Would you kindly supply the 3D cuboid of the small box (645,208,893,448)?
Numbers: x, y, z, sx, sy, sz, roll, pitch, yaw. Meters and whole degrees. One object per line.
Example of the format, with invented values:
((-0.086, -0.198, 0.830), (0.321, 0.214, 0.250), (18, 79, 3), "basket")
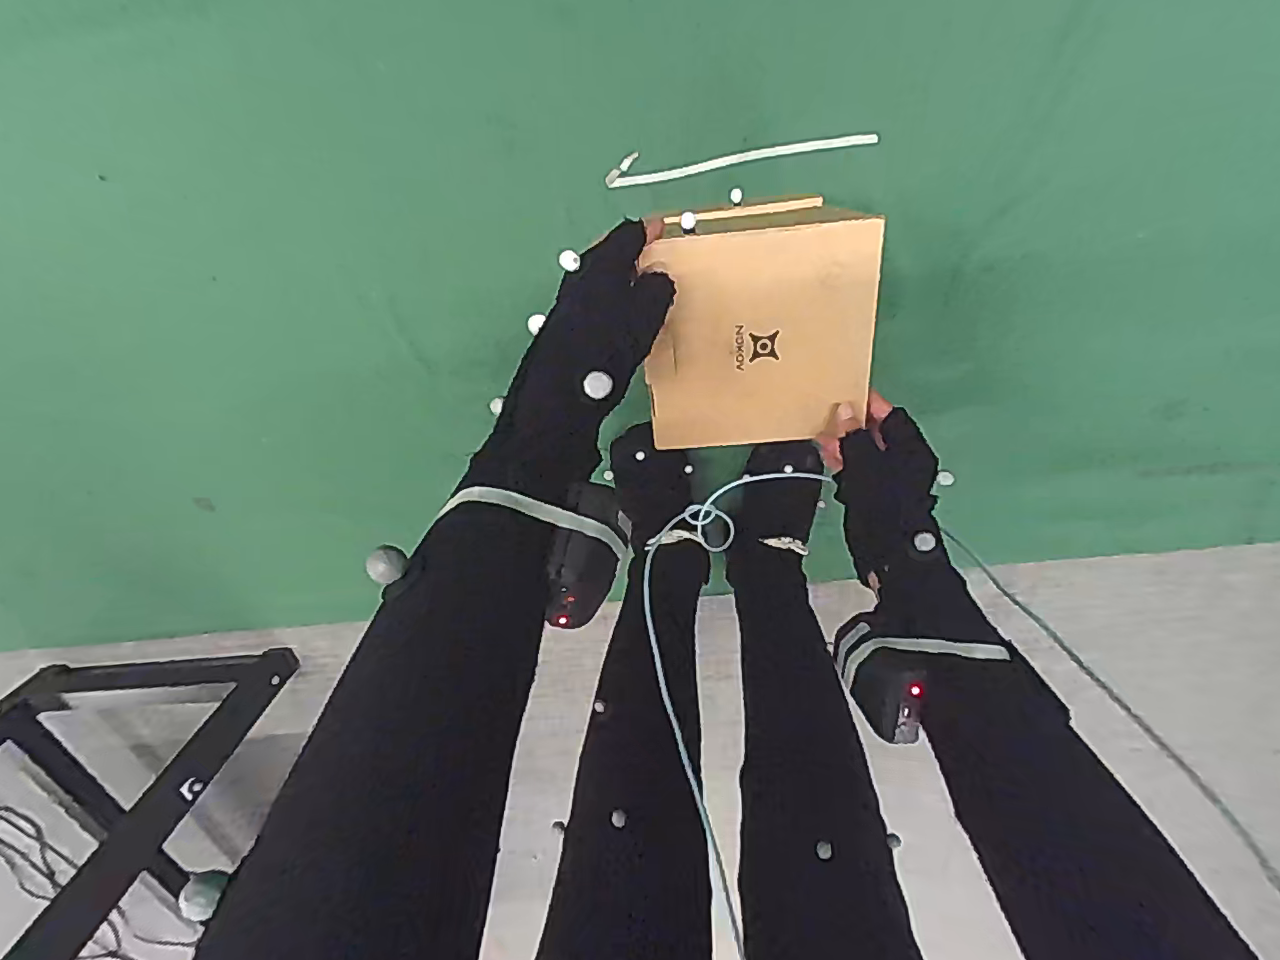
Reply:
((0.098, -0.143, 0.485), (0.179, 0.176, 0.168), (-4, 119, 5), "small box")

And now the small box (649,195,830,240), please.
((0.105, -0.227, 0.625), (0.179, 0.176, 0.168), (-4, 118, 6), "small box")
